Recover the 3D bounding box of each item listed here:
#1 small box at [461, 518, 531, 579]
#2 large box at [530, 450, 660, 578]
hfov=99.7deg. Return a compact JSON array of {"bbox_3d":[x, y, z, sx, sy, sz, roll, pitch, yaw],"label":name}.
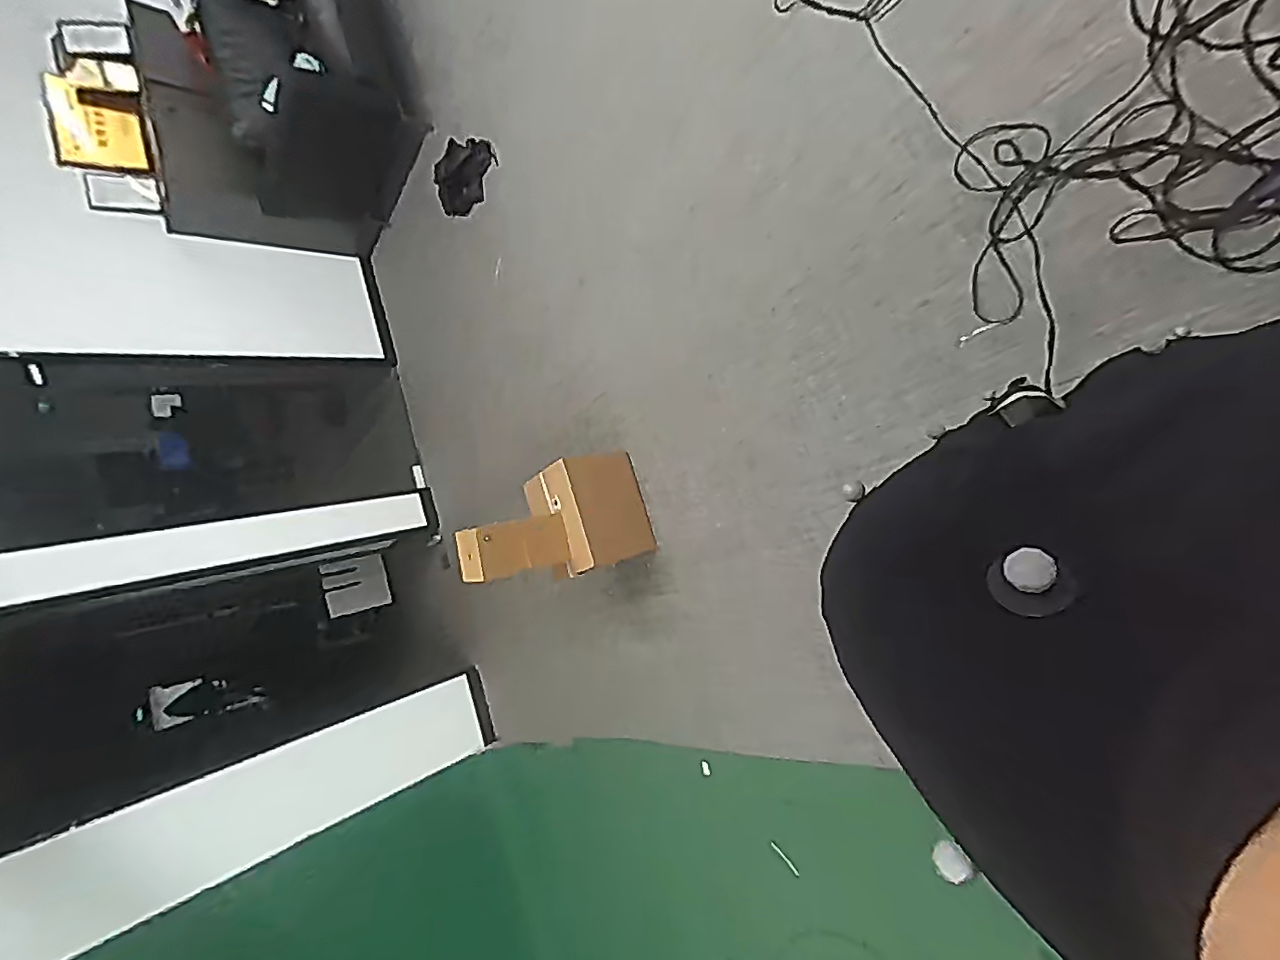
[{"bbox_3d":[-0.490,0.233,1.849,0.168,0.176,0.179,-13,87,49],"label":"small box"},{"bbox_3d":[-0.177,0.128,2.094,0.320,0.320,0.408,-27,76,46],"label":"large box"}]
